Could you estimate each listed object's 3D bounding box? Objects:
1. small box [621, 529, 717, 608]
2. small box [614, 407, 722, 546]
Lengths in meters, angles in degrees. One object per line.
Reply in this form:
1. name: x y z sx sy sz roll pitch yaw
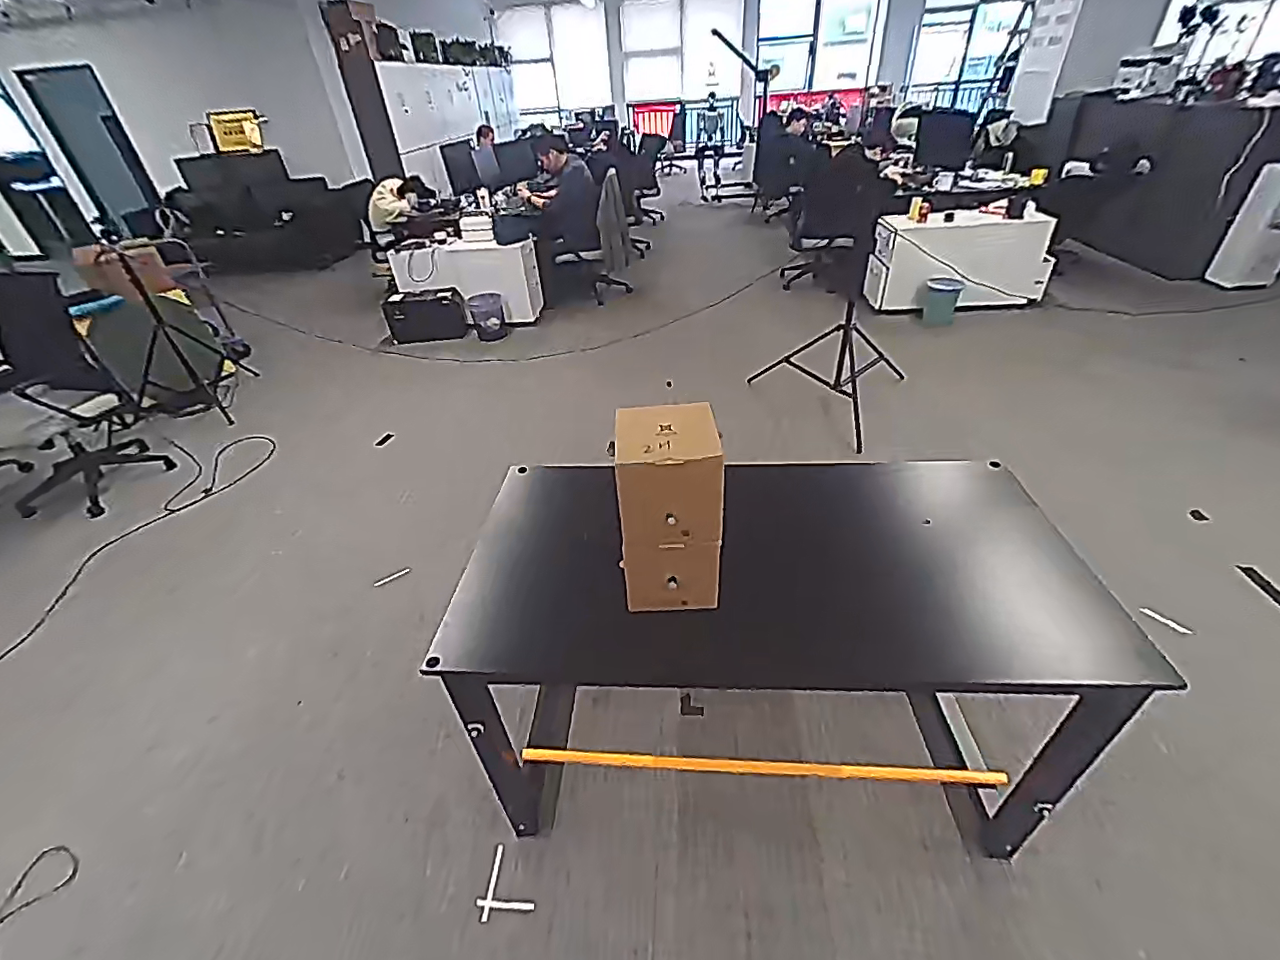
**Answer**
1. small box: 0.055 0.128 1.021 0.168 0.176 0.179 -3 36 2
2. small box: 0.045 -0.008 0.927 0.168 0.176 0.179 -5 36 1
